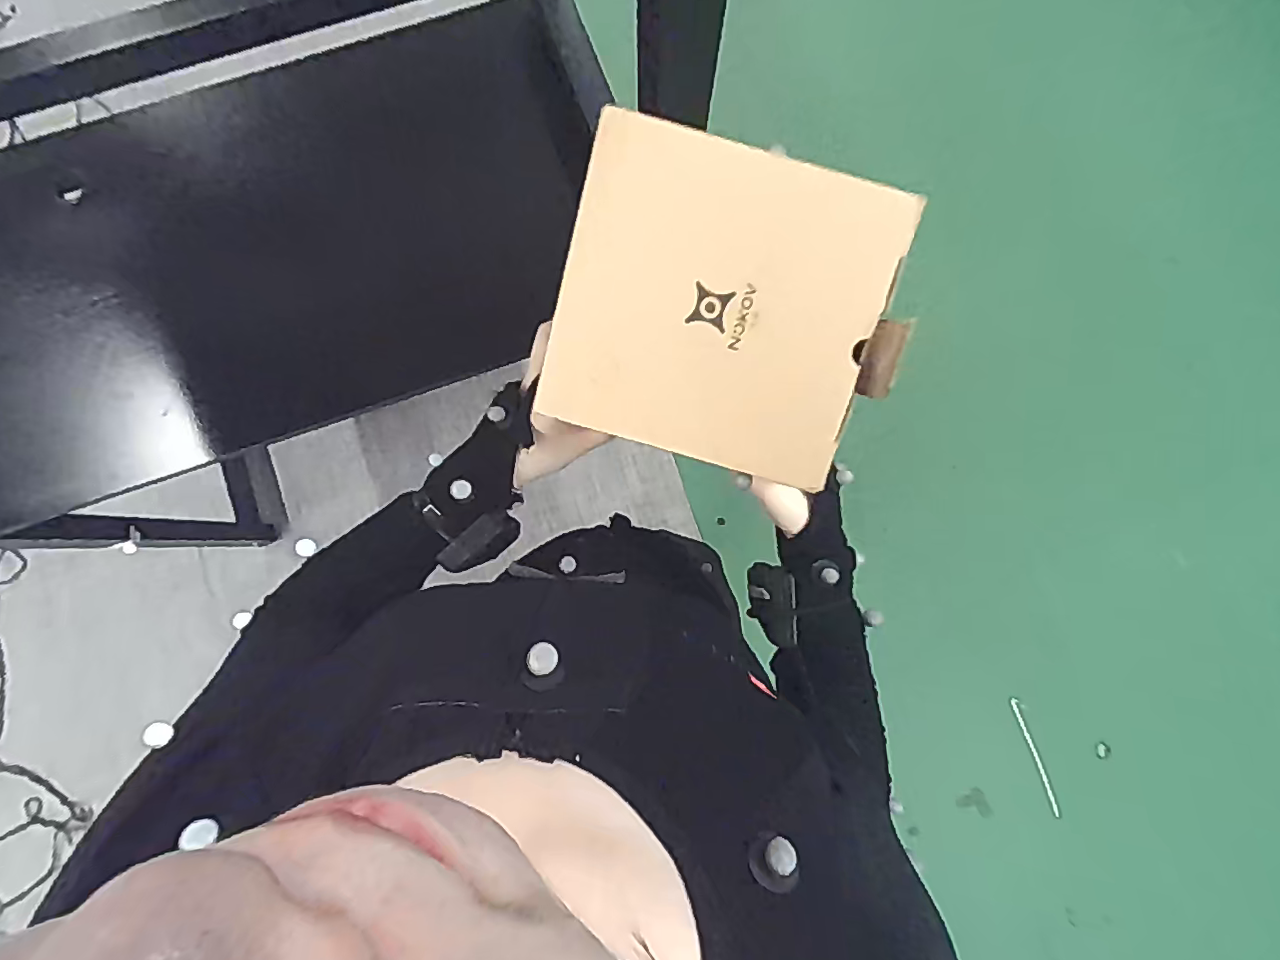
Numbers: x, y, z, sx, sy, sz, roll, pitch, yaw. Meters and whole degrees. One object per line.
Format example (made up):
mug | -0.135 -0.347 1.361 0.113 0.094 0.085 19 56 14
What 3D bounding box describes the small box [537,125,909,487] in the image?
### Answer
small box | 0.045 -0.108 0.385 0.179 0.176 0.168 15 102 -2
